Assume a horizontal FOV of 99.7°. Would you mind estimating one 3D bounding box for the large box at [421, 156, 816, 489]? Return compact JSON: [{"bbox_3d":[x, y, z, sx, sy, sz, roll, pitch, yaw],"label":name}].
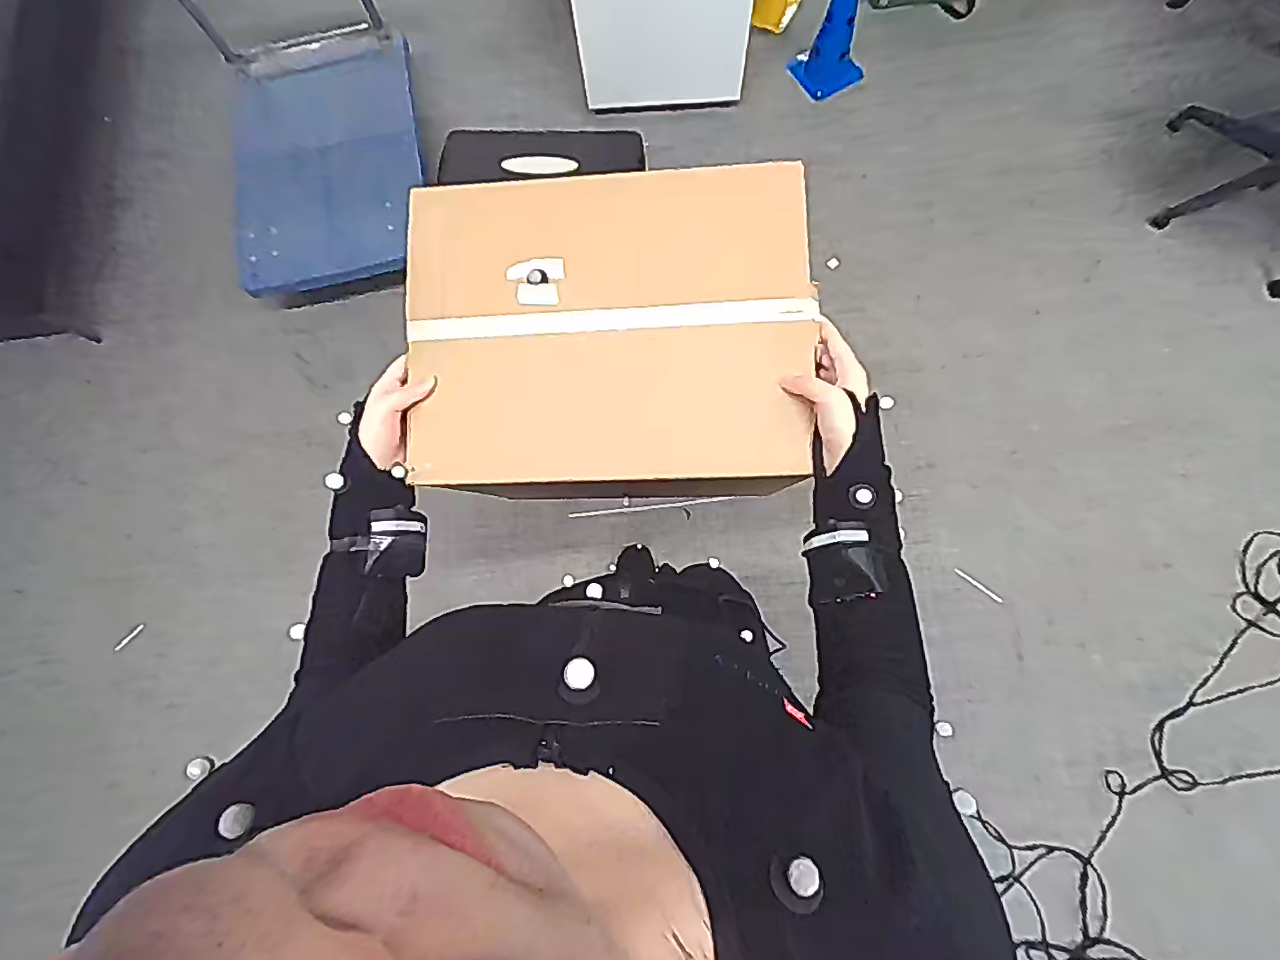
[{"bbox_3d":[-0.015,-0.154,0.697,0.408,0.320,0.320,-2,85,6],"label":"large box"}]
